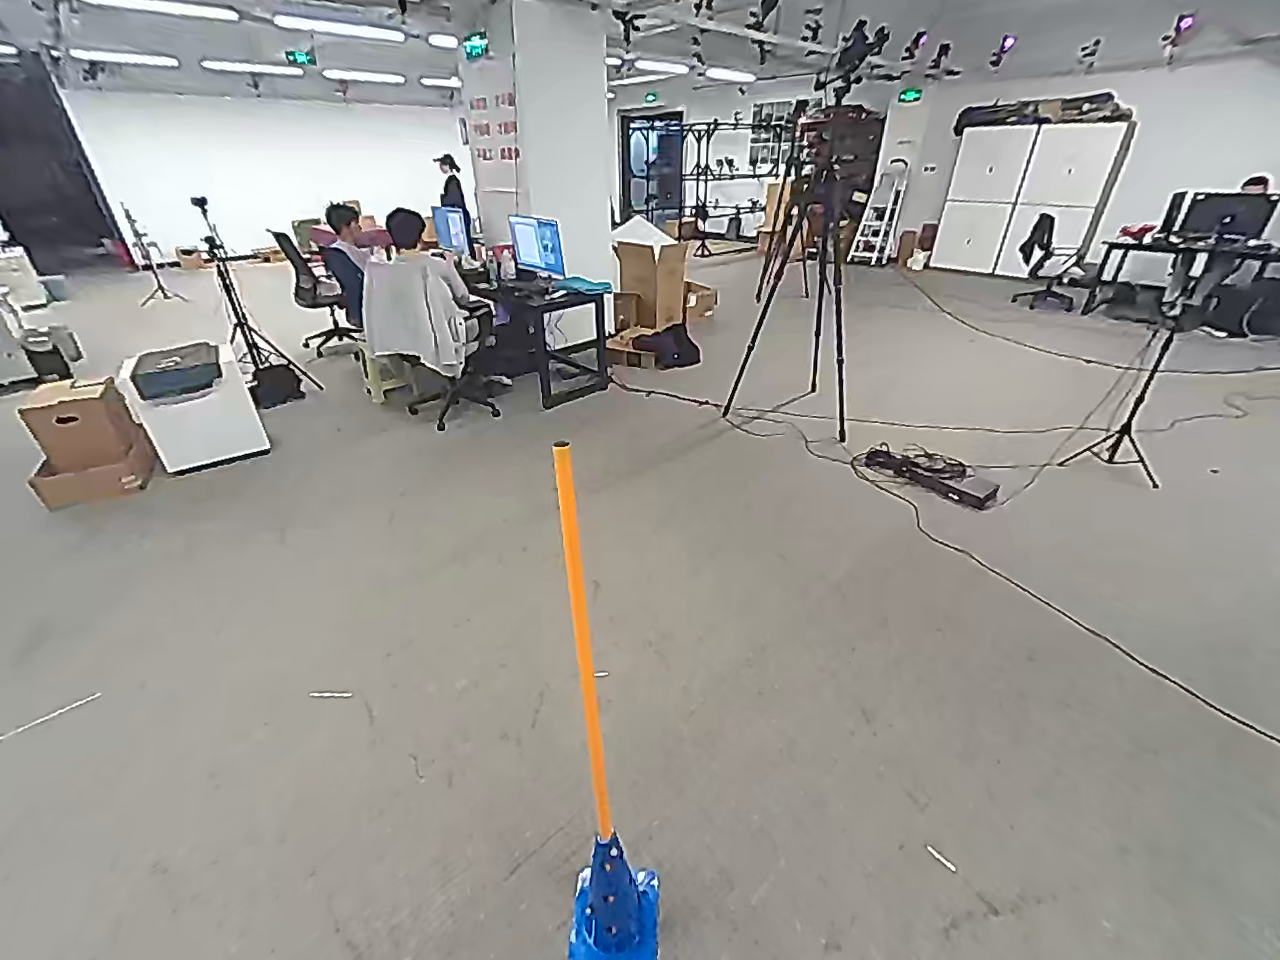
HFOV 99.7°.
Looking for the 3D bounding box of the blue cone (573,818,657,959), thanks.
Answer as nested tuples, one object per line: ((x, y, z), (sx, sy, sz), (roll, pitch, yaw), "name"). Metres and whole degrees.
((-0.060, 0.866, 1.186), (0.192, 0.380, 0.193), (0, 29, 2), "blue cone")
